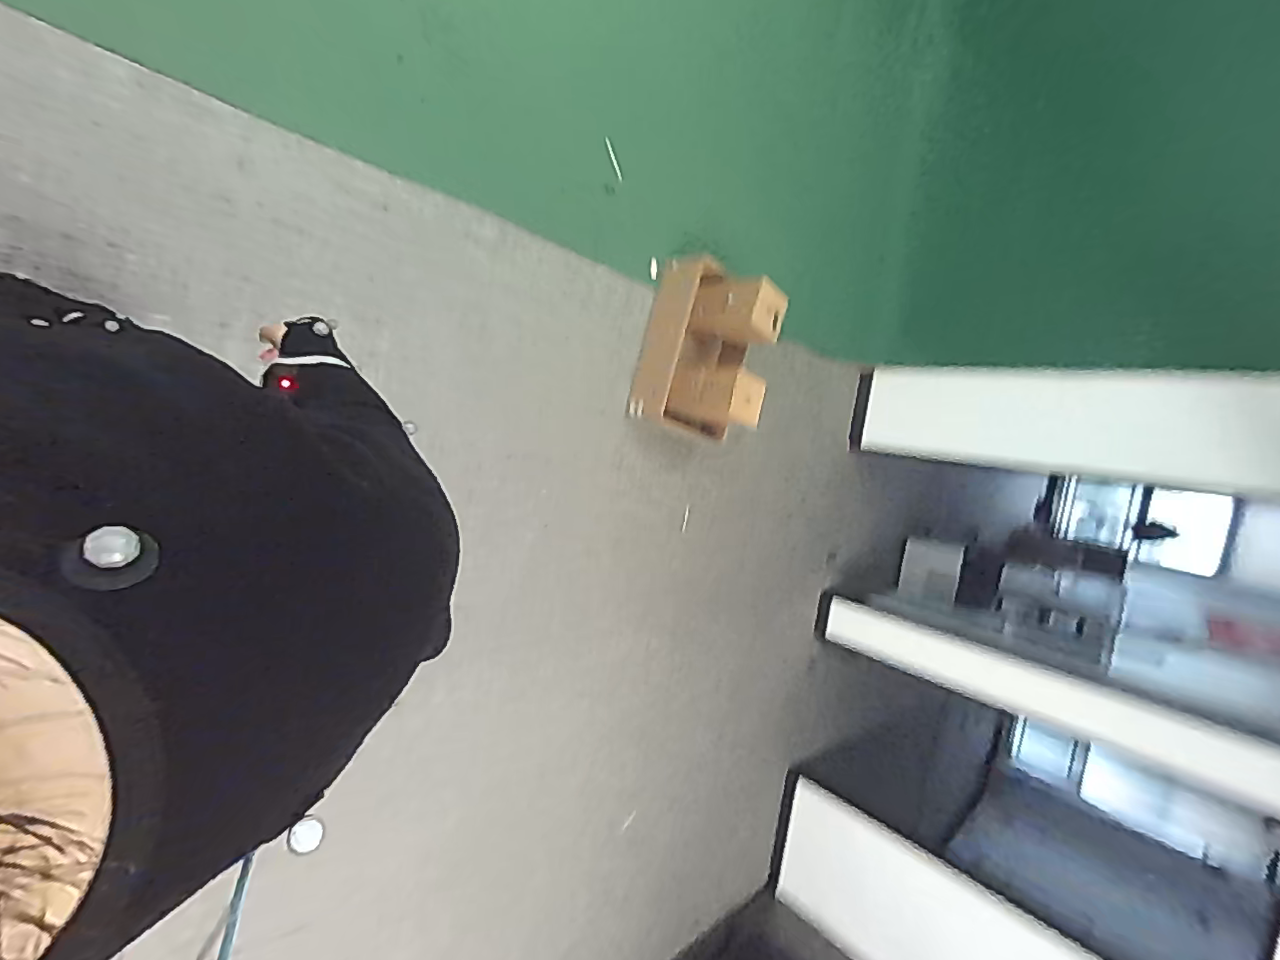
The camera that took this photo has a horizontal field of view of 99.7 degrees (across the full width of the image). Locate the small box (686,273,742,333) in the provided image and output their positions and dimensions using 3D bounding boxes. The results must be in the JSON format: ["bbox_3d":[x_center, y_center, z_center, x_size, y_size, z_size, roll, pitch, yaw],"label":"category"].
[{"bbox_3d":[0.305,-0.677,2.089,0.179,0.176,0.168,17,90,-44],"label":"small box"}]

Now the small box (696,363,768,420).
[{"bbox_3d":[0.335,-0.326,1.974,0.179,0.176,0.168,14,90,-44],"label":"small box"}]

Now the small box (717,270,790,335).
[{"bbox_3d":[0.413,-0.643,1.971,0.179,0.176,0.168,19,88,-43],"label":"small box"}]
